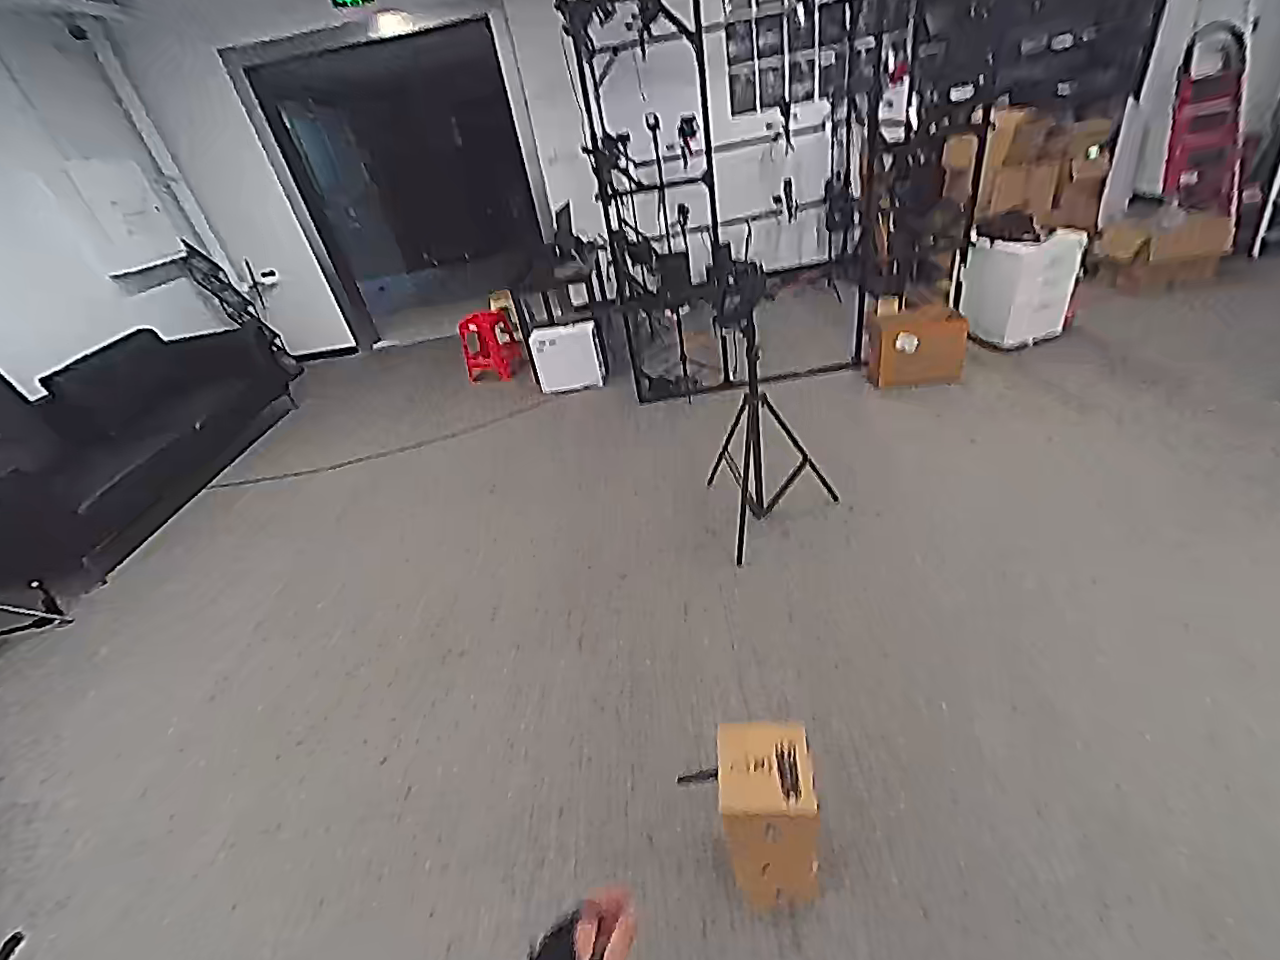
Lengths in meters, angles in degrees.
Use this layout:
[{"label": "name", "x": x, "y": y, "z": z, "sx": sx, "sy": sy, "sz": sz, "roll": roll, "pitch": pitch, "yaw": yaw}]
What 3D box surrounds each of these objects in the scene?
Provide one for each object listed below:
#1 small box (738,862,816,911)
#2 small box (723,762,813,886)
[{"label": "small box", "x": 0.301, "y": 0.866, "z": 1.252, "sx": 0.168, "sy": 0.176, "sz": 0.179, "roll": -9, "pitch": 32, "yaw": 2}, {"label": "small box", "x": 0.269, "y": 0.735, "z": 1.161, "sx": 0.168, "sy": 0.176, "sz": 0.179, "roll": -6, "pitch": 34, "yaw": 8}]
